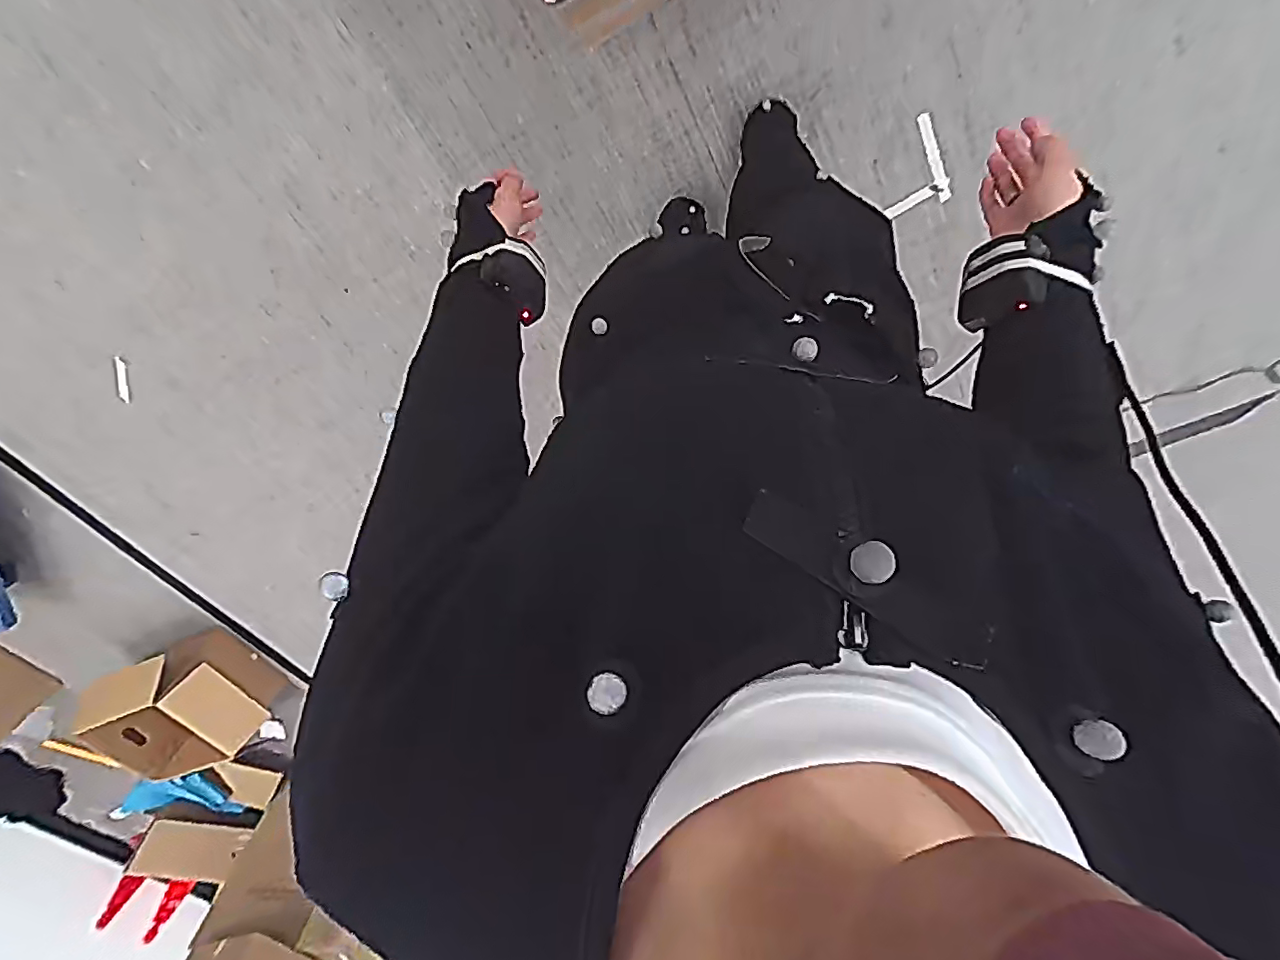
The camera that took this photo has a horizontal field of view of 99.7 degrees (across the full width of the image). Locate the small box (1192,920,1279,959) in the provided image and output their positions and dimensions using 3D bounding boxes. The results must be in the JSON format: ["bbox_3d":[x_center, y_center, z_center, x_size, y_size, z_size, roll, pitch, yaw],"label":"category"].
[{"bbox_3d":[1.440,1.159,1.255,0.179,0.176,0.168,-26,119,20],"label":"small box"}]
